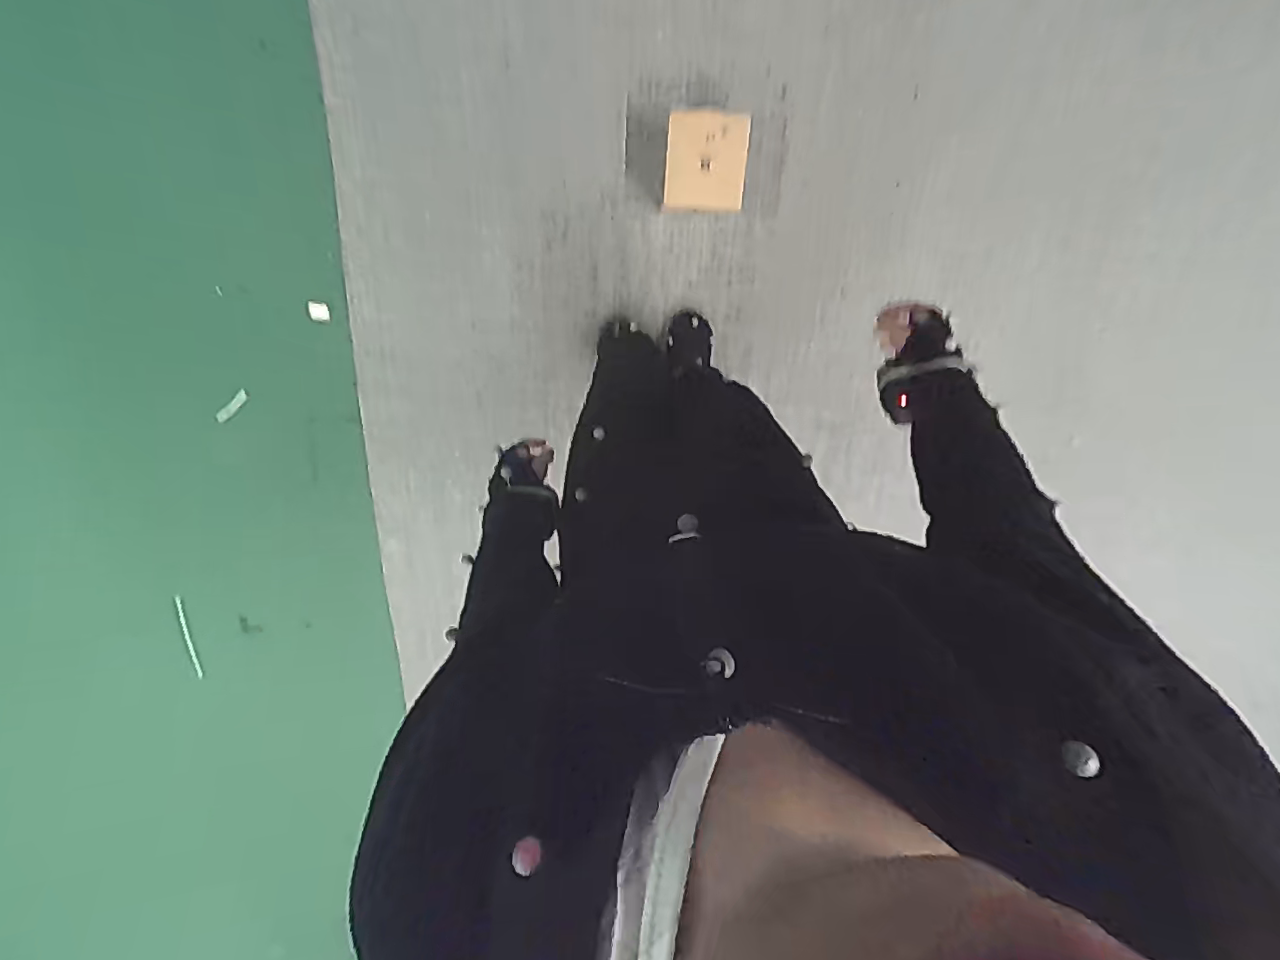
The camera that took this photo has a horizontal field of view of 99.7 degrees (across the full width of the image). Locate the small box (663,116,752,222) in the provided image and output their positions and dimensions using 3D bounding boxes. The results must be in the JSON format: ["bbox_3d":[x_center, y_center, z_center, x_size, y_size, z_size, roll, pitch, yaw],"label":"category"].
[{"bbox_3d":[0.139,-0.668,1.181,0.168,0.176,0.179,3,111,-1],"label":"small box"}]
